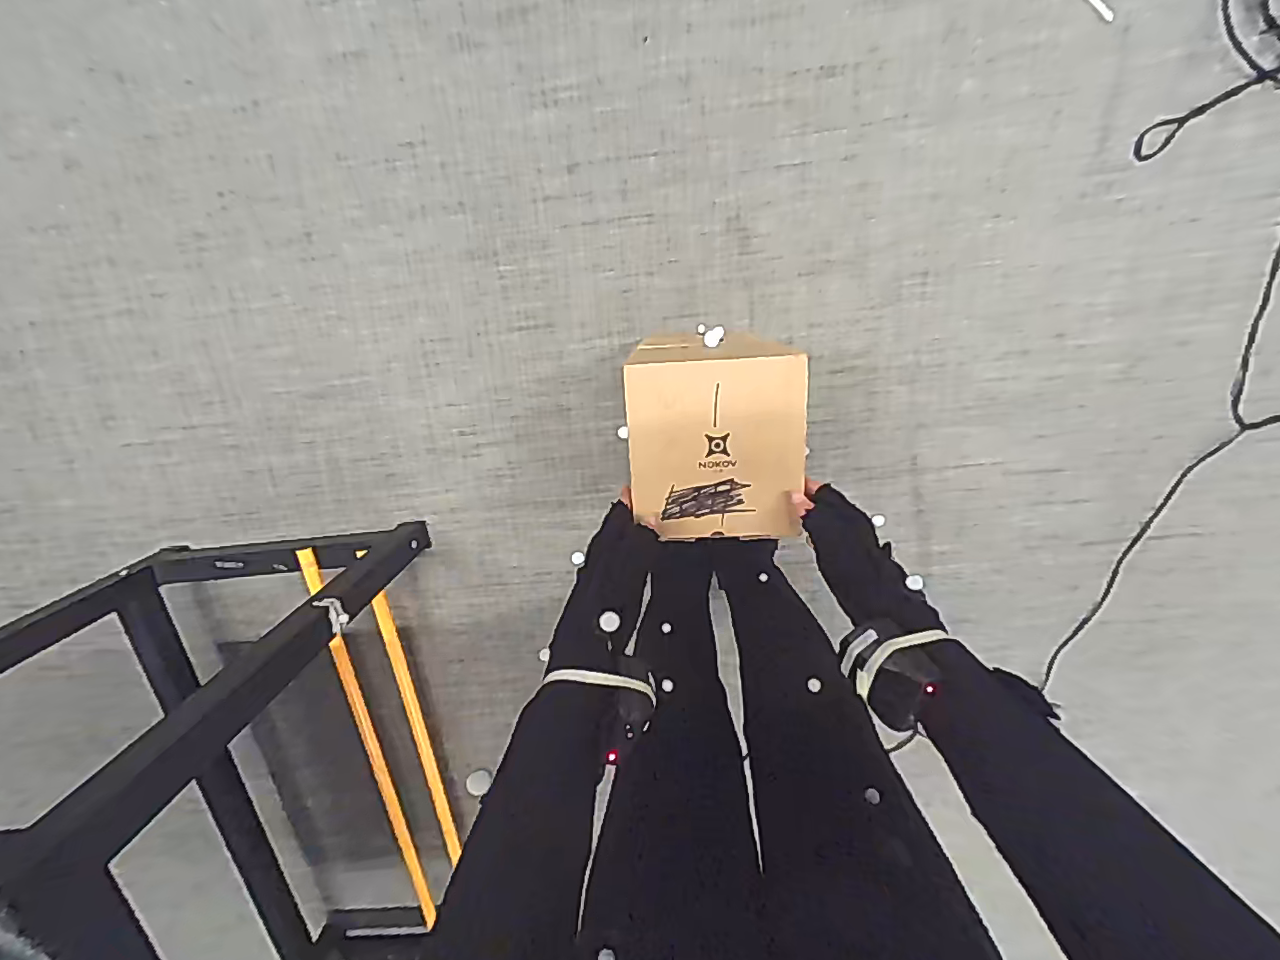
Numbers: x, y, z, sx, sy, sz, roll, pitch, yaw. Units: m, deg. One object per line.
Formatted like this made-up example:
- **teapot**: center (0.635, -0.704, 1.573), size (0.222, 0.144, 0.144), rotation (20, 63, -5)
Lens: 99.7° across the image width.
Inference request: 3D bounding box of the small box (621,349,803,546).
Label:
- **small box**: center (0.073, -0.043, 0.586), size (0.168, 0.176, 0.179), rotation (-2, 107, 4)

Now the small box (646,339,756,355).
- **small box**: center (0.094, -0.142, 0.896), size (0.168, 0.176, 0.179), rotation (0, 108, 4)
